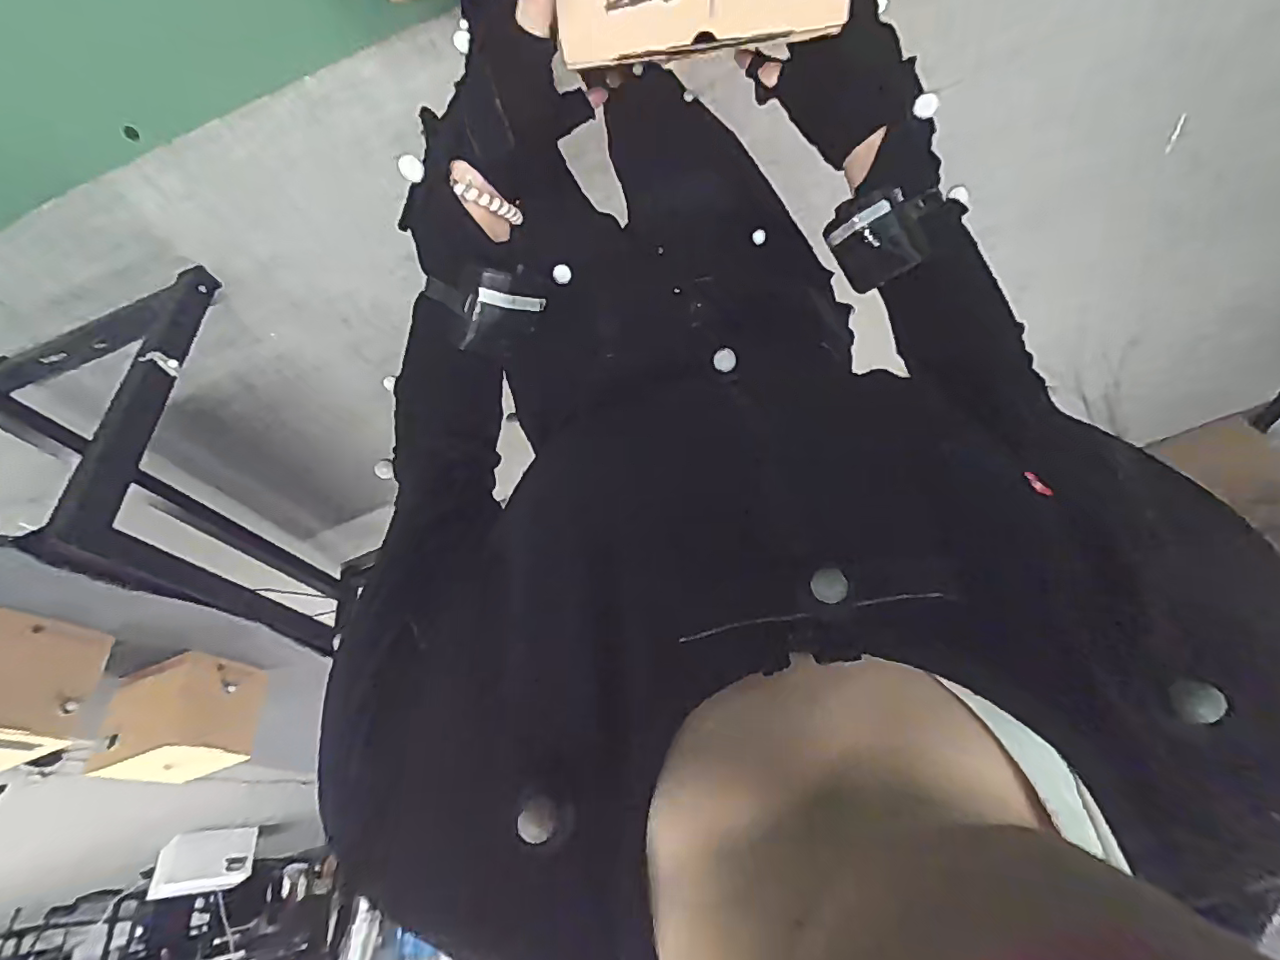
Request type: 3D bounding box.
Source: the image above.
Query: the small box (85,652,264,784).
[{"bbox_3d":[-0.847,0.445,1.008,0.179,0.176,0.168,-21,143,6],"label":"small box"}]

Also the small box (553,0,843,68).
[{"bbox_3d":[0.023,-0.368,0.324,0.168,0.176,0.179,-7,127,1],"label":"small box"}]
